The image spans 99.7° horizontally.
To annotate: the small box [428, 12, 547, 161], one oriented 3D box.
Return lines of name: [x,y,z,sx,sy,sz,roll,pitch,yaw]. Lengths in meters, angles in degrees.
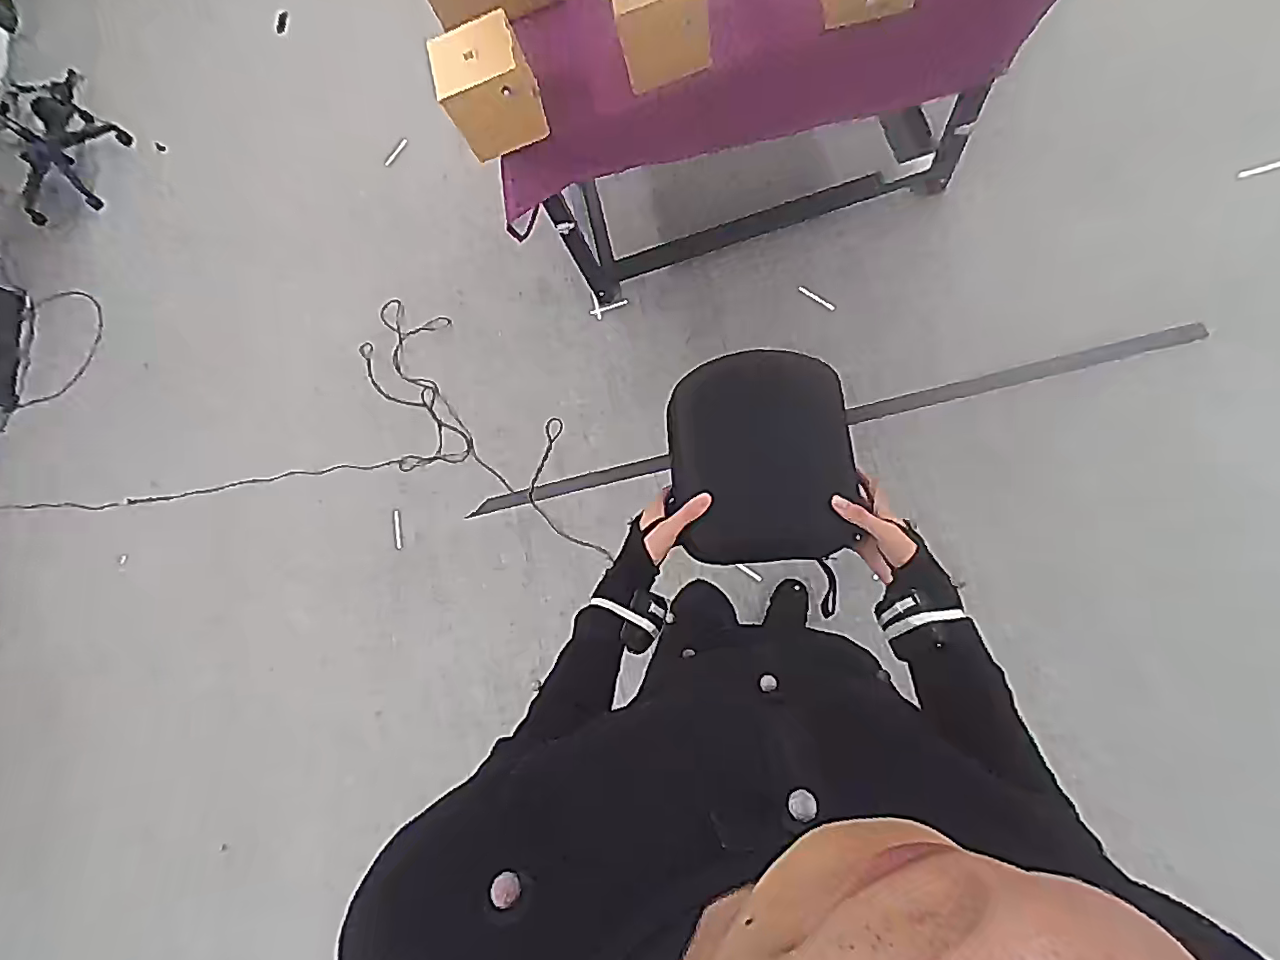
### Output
small box: [-0.322,-0.830,1.159,0.179,0.176,0.168,-17,75,8]
